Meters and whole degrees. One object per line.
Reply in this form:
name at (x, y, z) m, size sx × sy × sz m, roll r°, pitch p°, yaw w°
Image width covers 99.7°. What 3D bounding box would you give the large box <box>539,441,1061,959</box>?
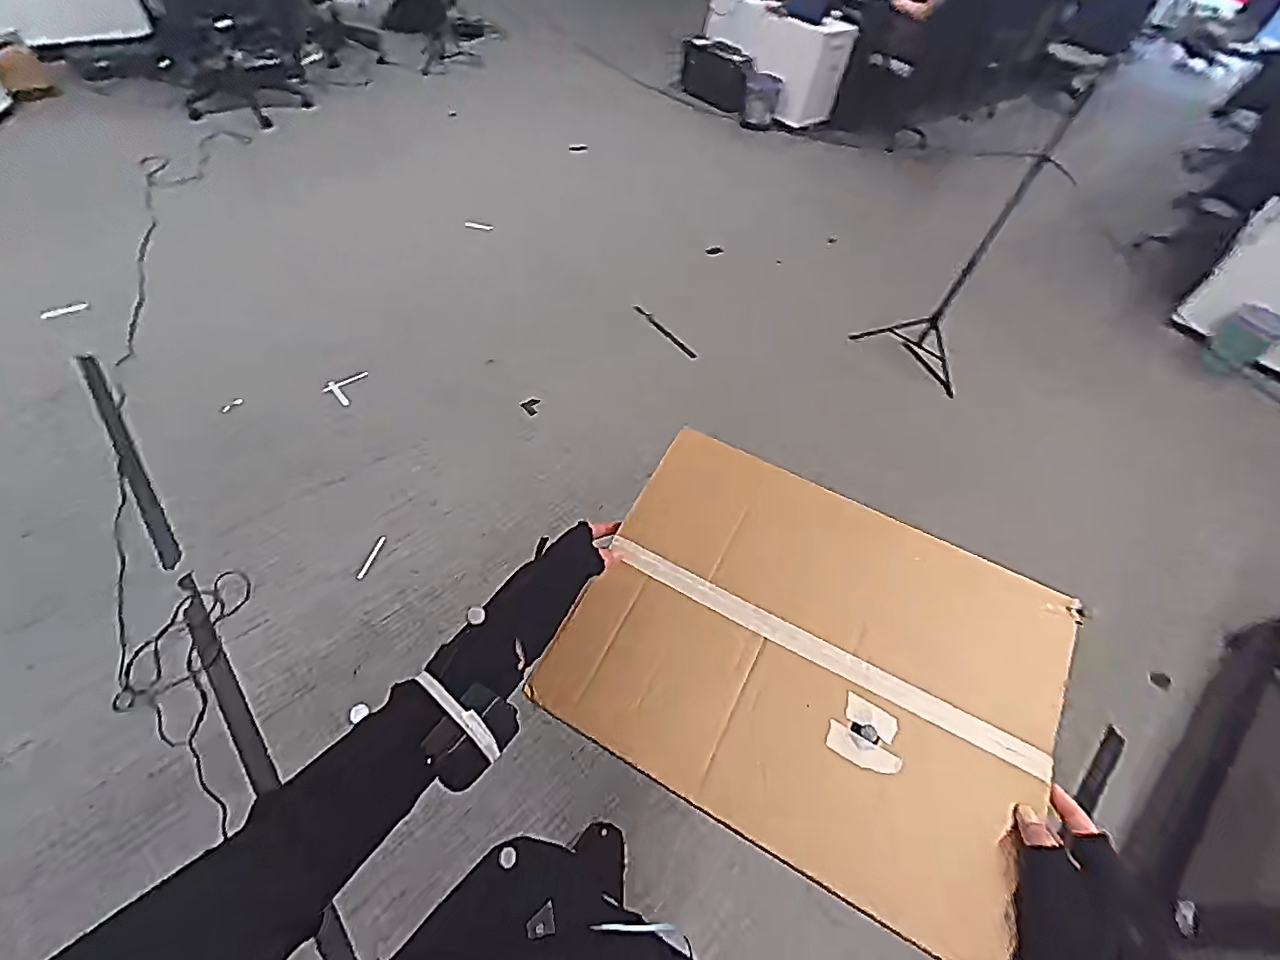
large box at (0.152, 0.222, 0.624) m, size 0.408 × 0.320 × 0.320 m, roll 26°, pitch 66°, yaw 14°
